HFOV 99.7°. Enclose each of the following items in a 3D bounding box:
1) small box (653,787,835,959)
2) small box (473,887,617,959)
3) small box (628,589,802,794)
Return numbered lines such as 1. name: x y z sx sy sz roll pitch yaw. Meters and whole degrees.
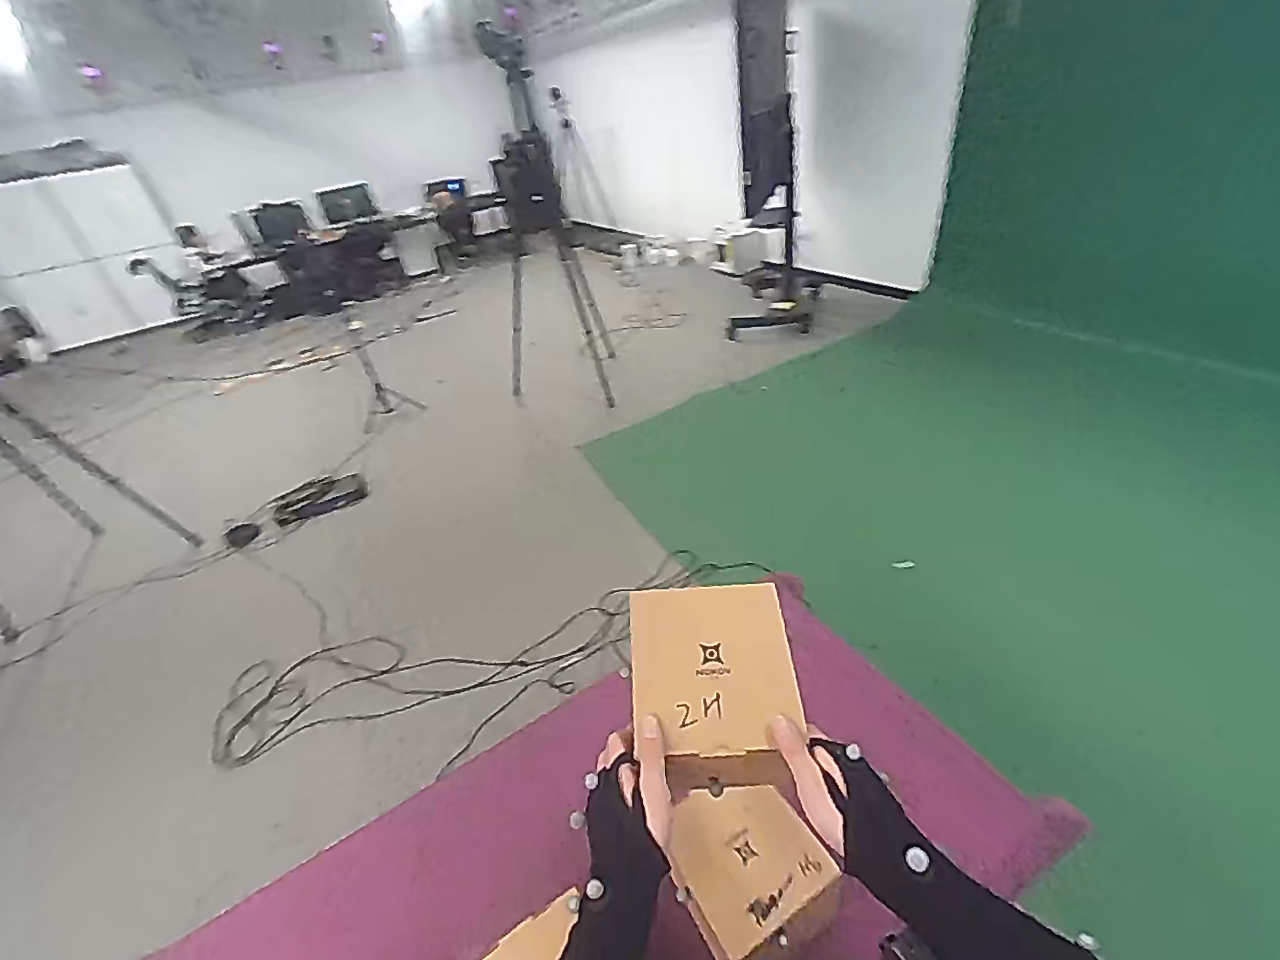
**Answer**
1. small box: 0.137 0.526 0.730 0.168 0.176 0.179 -25 37 -18
2. small box: -0.095 0.644 0.635 0.168 0.176 0.179 -27 39 -19
3. small box: 0.074 0.243 0.617 0.168 0.176 0.179 -4 51 3
